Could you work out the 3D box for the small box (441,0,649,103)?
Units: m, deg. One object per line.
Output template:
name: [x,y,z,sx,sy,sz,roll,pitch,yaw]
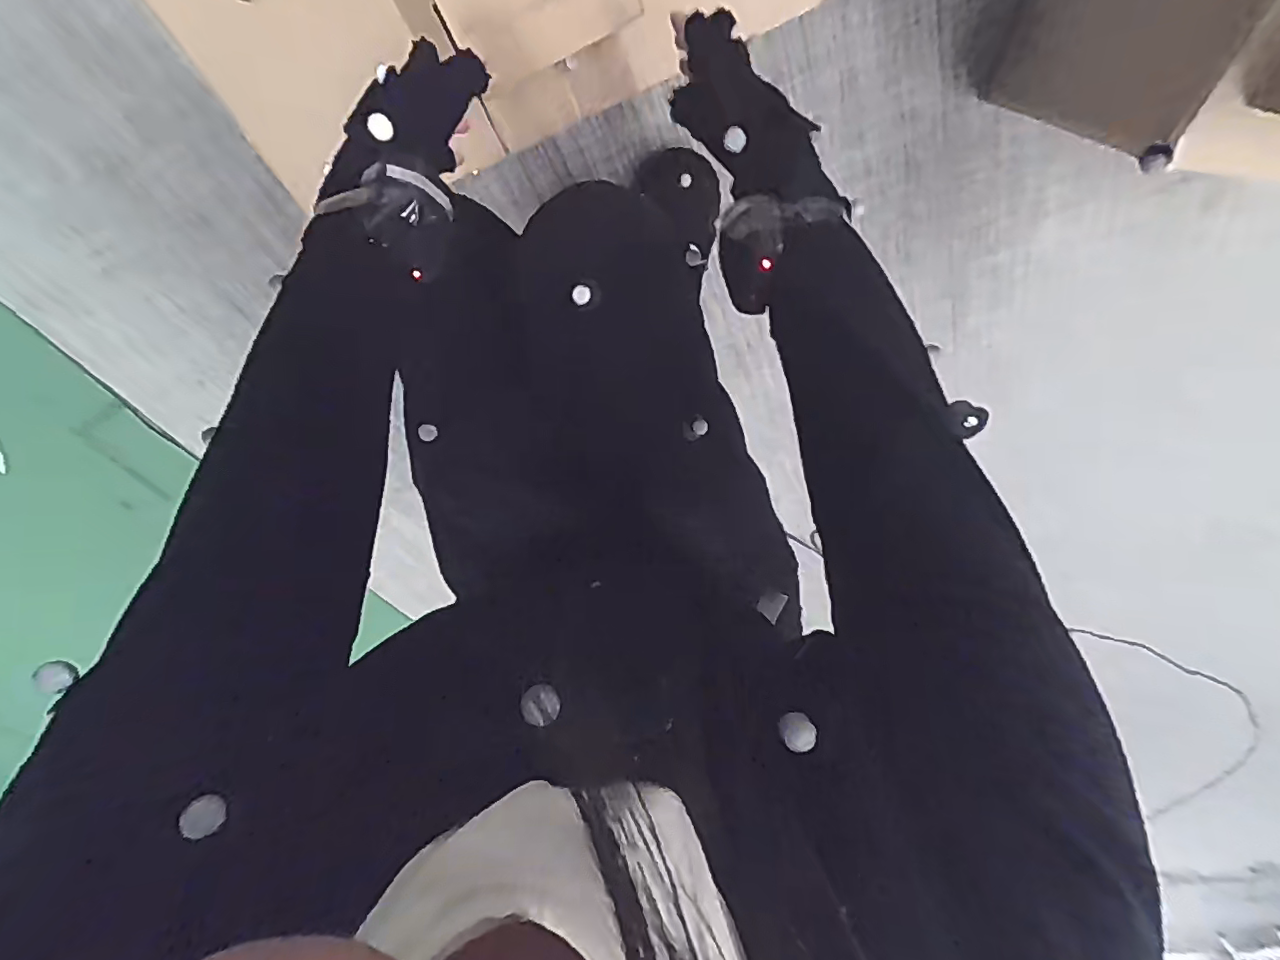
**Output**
small box: [-0.099,-0.498,0.507,0.168,0.176,0.179,-16,131,17]
